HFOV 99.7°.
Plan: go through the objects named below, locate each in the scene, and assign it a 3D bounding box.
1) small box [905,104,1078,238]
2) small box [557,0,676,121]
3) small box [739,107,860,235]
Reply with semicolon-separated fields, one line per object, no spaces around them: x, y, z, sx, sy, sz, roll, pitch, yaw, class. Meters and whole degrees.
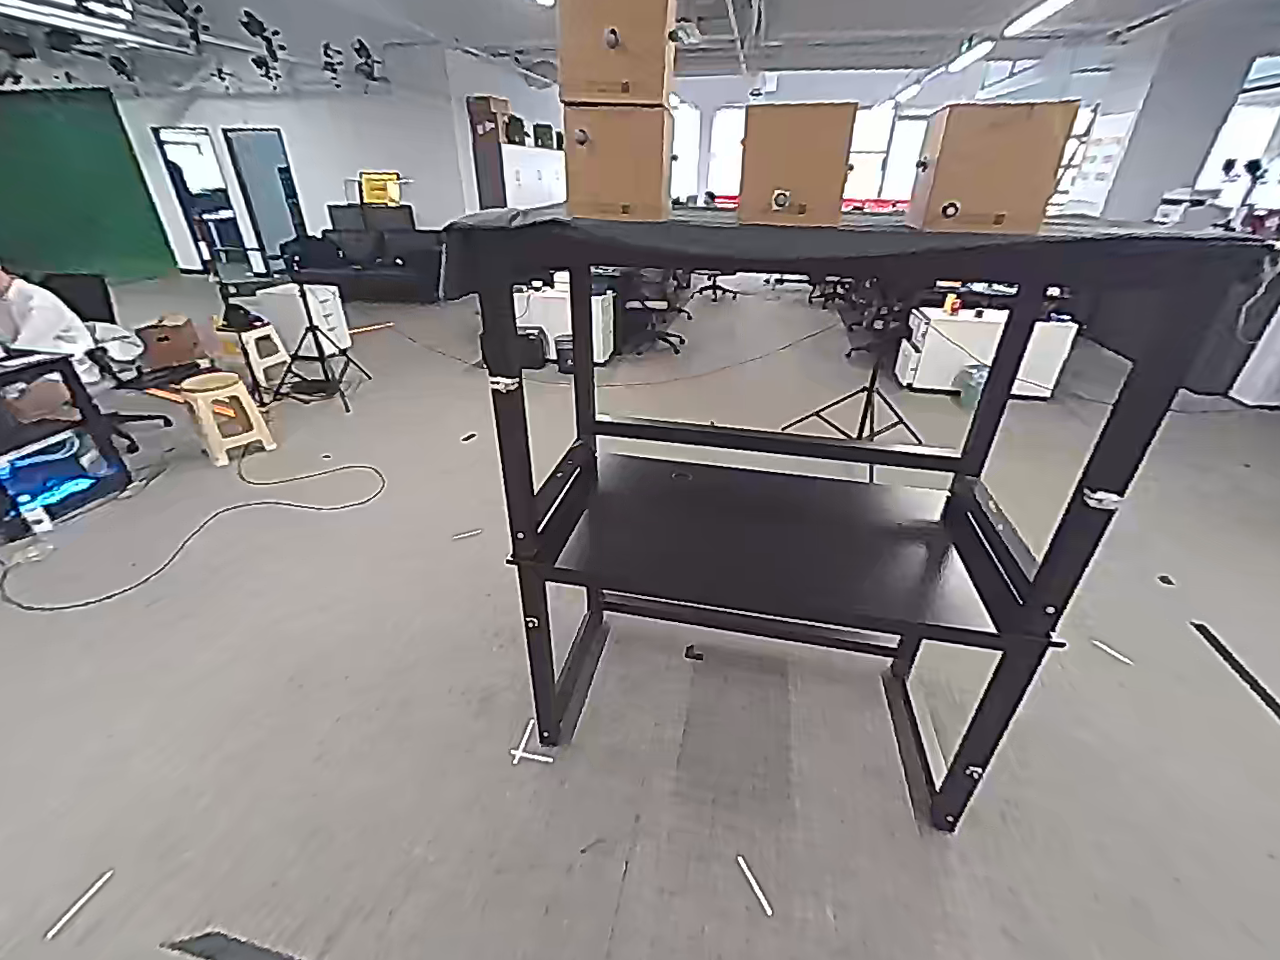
0.538;-0.481;0.857;0.168;0.176;0.179;8;29;12;small box
-0.032;-0.684;0.868;0.168;0.176;0.179;5;29;4;small box
0.259;-0.508;0.902;0.168;0.176;0.179;7;29;13;small box
